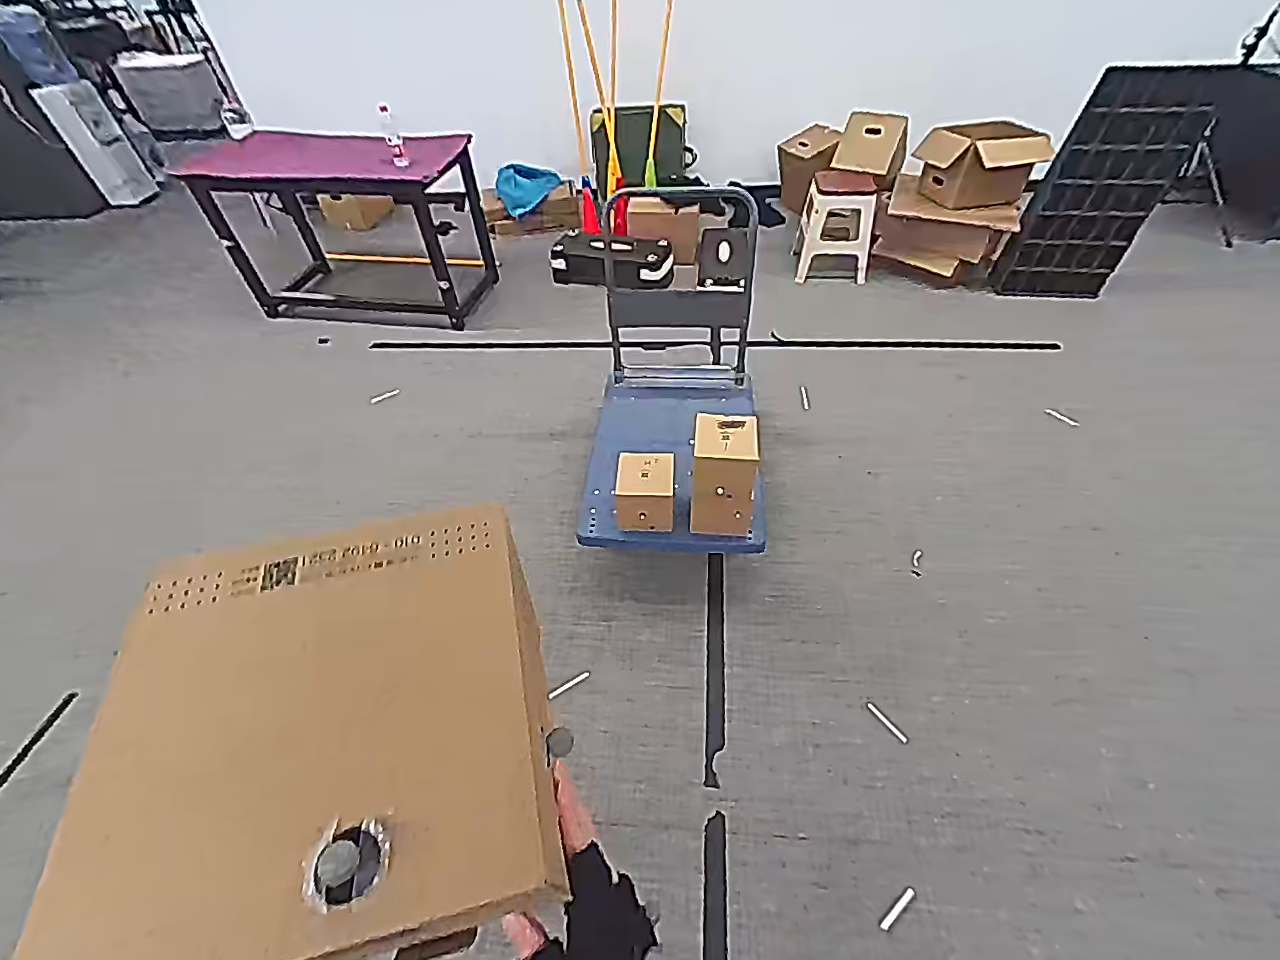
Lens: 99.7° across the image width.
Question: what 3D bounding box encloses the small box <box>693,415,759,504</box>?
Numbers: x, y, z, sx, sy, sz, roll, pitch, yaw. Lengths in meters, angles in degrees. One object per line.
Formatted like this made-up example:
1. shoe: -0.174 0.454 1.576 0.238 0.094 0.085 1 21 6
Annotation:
1. small box: 0.234 -0.057 1.498 0.168 0.176 0.179 4 47 6

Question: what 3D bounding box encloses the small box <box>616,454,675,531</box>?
1. small box: 0.022 0.040 1.642 0.168 0.176 0.179 2 46 3

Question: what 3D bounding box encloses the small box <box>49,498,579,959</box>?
1. small box: -0.129 0.133 0.293 0.168 0.179 0.176 -10 54 -10
